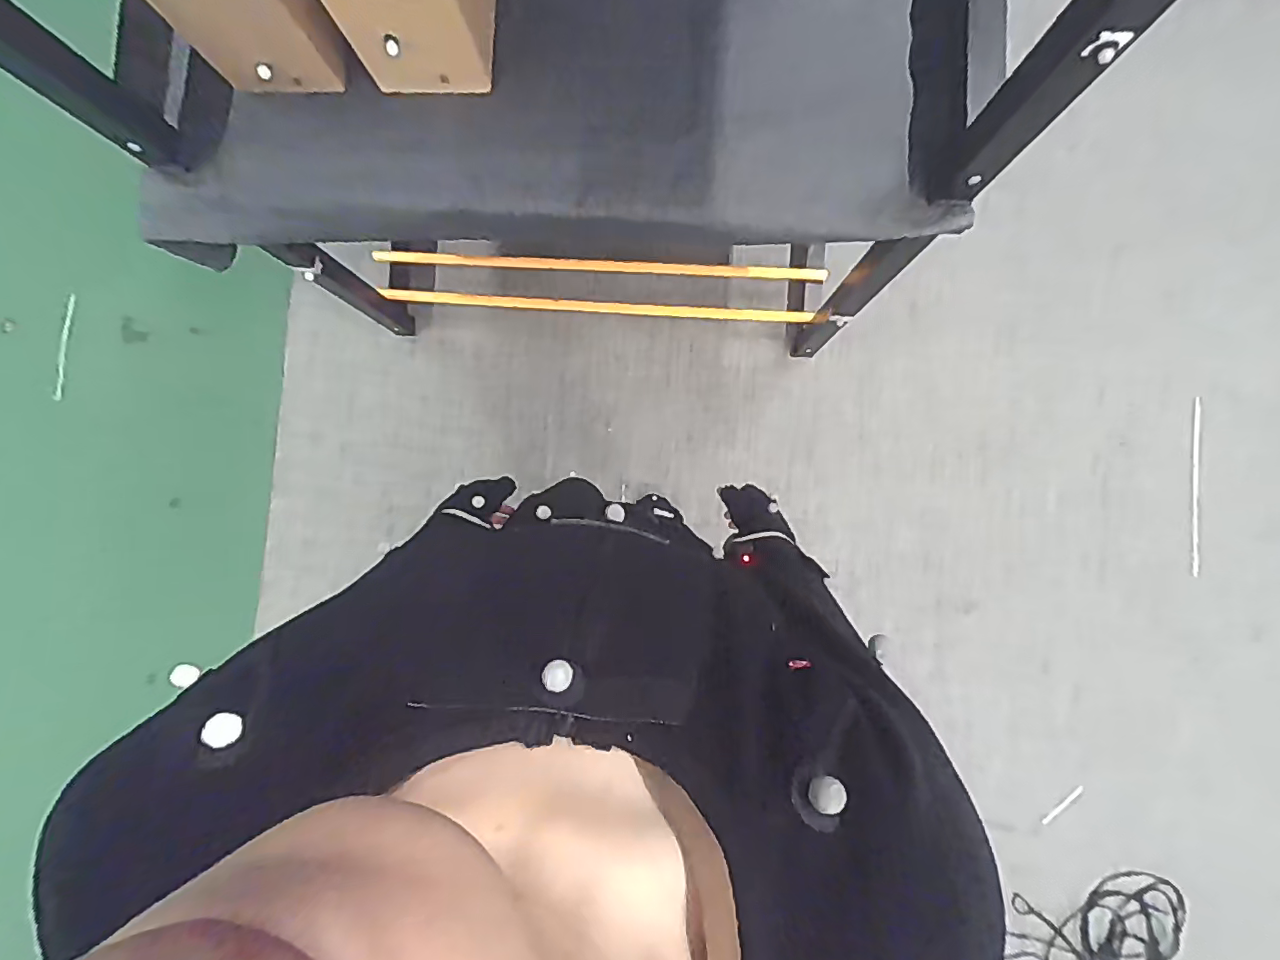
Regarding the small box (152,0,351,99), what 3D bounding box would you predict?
[{"bbox_3d":[-0.518,-0.664,0.734,0.168,0.176,0.179,1,87,2],"label":"small box"}]
